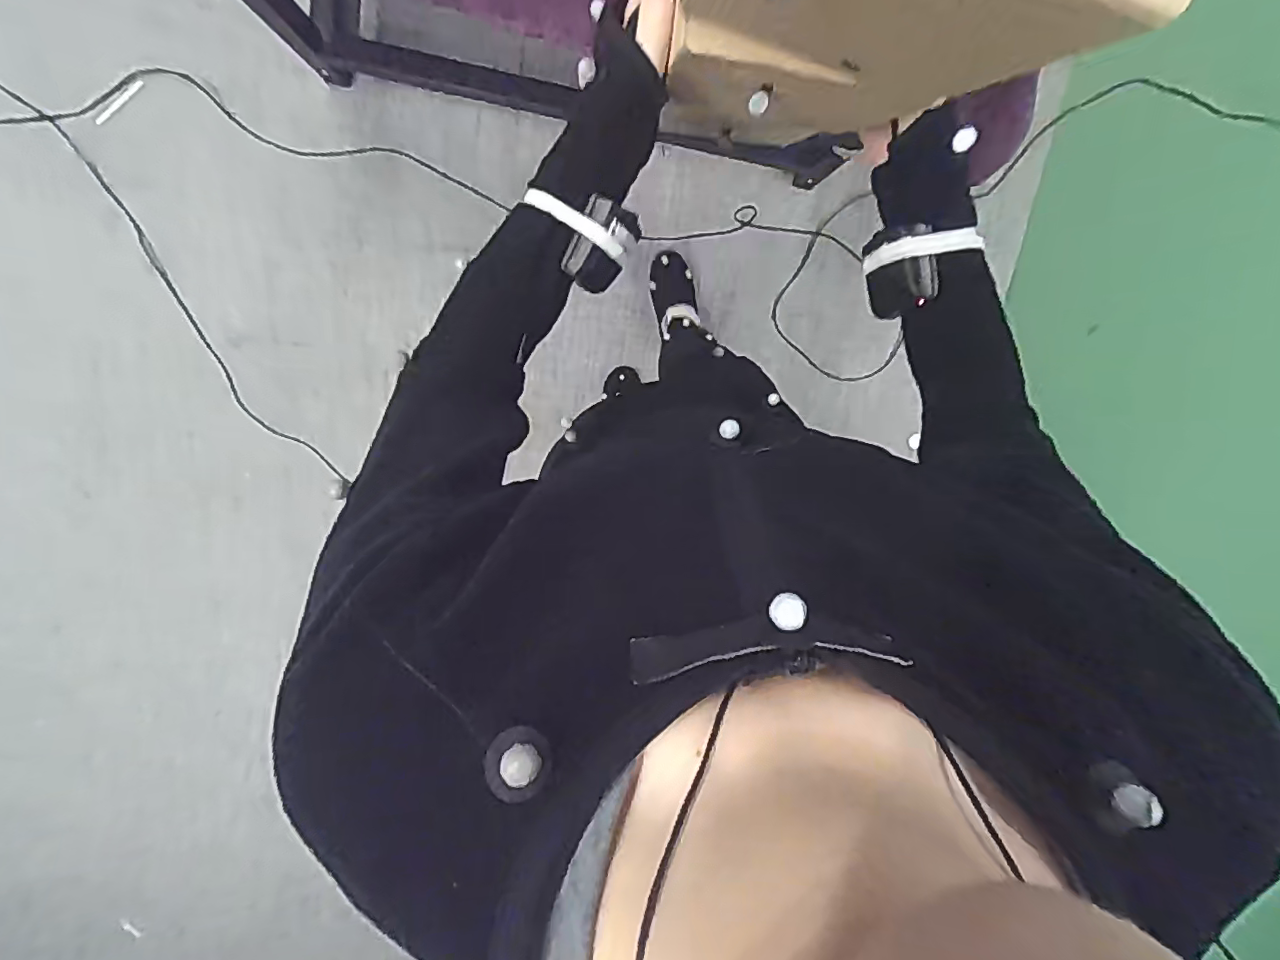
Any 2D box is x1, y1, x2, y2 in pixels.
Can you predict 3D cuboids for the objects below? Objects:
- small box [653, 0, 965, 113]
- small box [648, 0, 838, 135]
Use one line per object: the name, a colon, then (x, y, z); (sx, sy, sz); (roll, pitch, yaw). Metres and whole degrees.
small box: (0.109, -0.365, 0.362); (0.179, 0.176, 0.168); (6, 117, -7)
small box: (0.100, -0.447, 0.507); (0.168, 0.176, 0.179); (3, 115, -6)
